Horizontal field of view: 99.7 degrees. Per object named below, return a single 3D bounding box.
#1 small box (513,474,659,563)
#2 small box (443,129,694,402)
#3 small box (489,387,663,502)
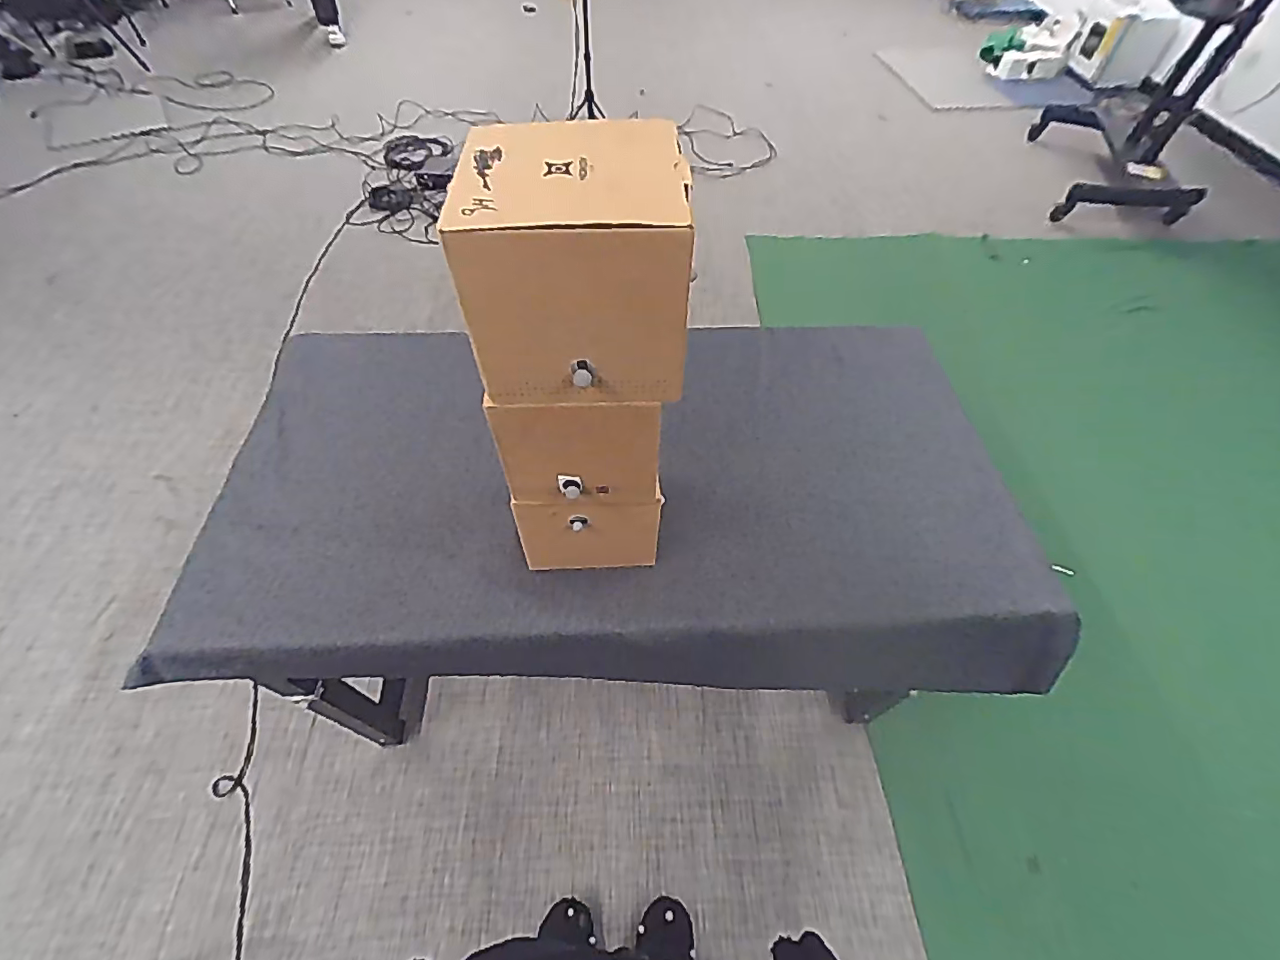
[{"bbox_3d":[-0.069,0.006,0.747,0.179,0.176,0.168,-2,54,-4],"label":"small box"},{"bbox_3d":[-0.053,-0.184,0.483,0.179,0.176,0.168,-1,53,-2],"label":"small box"},{"bbox_3d":[-0.063,-0.092,0.618,0.168,0.176,0.179,-2,55,-1],"label":"small box"}]
